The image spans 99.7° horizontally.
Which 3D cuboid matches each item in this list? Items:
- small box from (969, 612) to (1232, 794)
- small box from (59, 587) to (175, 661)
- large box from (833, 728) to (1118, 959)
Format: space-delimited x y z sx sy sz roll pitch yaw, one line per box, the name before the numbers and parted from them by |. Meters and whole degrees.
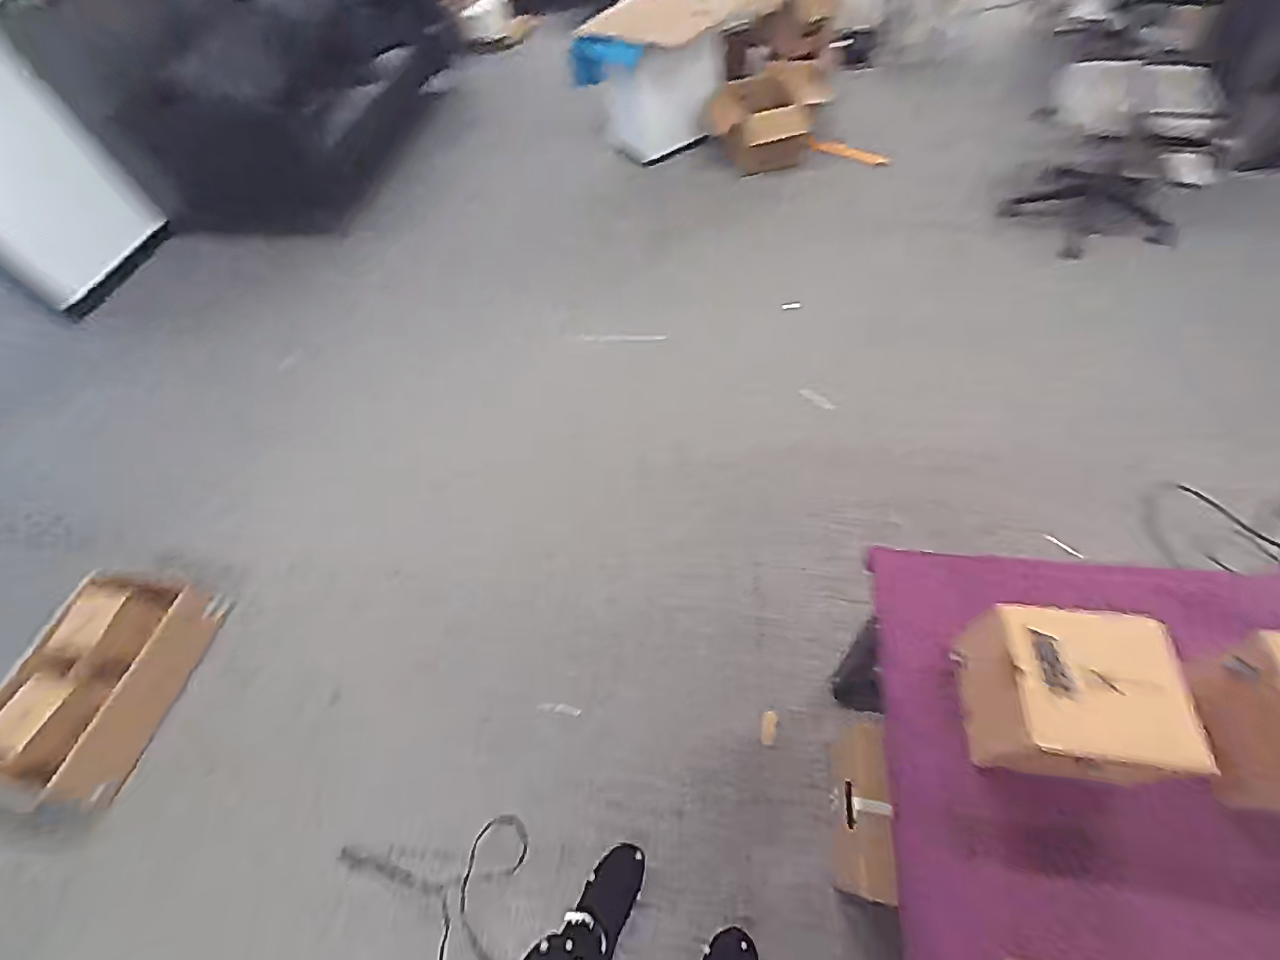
small box | 0.531 0.277 0.665 0.179 0.176 0.168 5 57 10
small box | -1.641 0.458 1.714 0.168 0.176 0.179 2 57 9
large box | 0.646 0.744 1.139 0.408 0.320 0.320 5 58 11
